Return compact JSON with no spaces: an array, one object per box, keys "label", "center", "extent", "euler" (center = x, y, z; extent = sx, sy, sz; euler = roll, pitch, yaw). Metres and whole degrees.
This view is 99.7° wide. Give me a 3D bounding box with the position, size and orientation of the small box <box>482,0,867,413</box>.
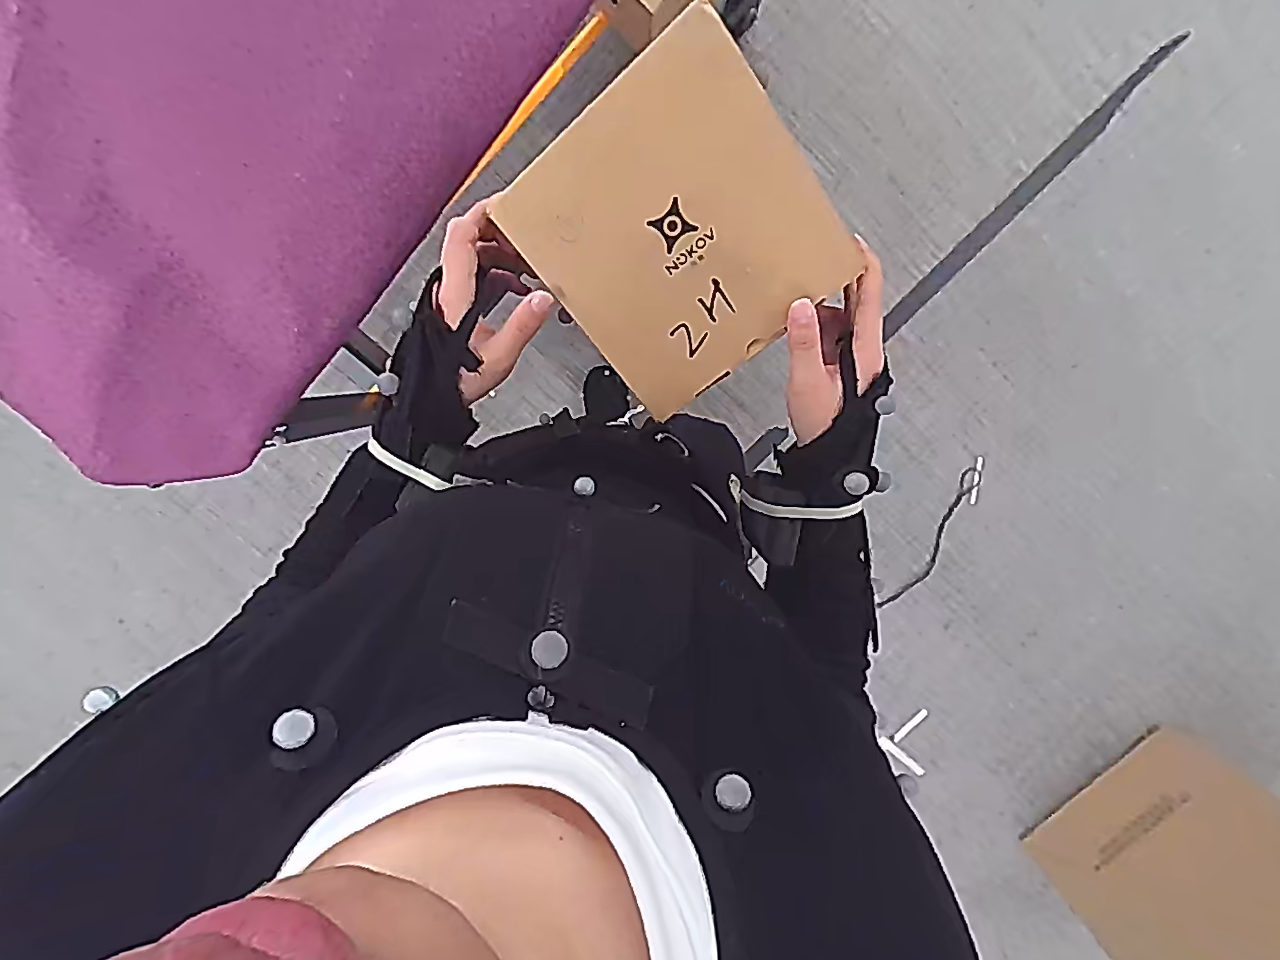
[{"label":"small box","center":[0.023,-0.181,0.392],"extent":[0.168,0.176,0.179],"euler":[-35,108,16]}]
